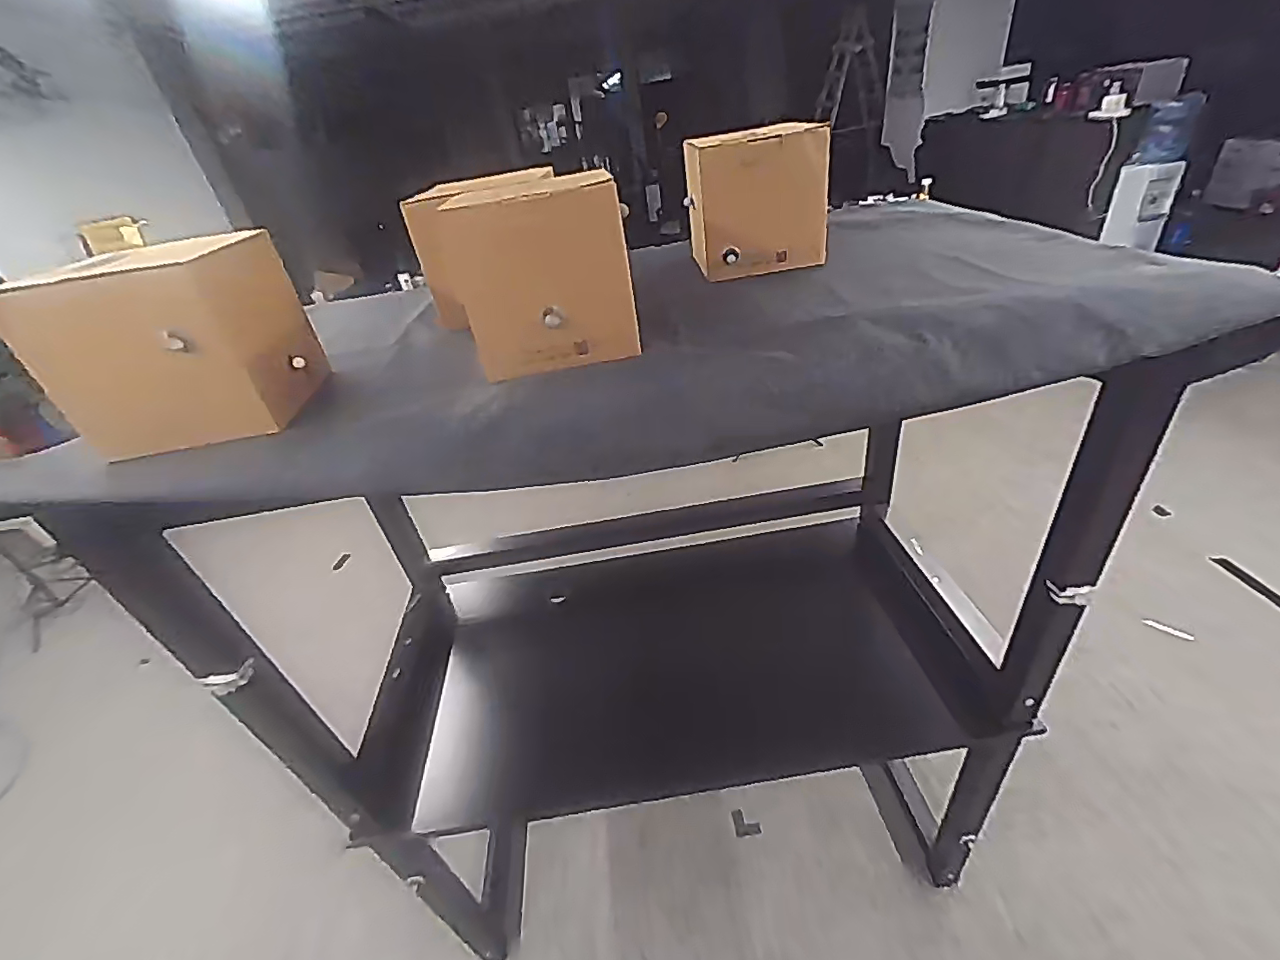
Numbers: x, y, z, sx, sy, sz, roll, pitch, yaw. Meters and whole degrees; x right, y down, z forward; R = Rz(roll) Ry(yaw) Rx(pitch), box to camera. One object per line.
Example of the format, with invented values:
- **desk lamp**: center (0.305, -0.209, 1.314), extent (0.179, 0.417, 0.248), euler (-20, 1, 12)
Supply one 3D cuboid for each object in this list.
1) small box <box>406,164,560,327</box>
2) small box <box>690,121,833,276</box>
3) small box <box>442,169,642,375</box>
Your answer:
- **small box**: center (-0.192, -0.332, 0.769), extent (0.179, 0.176, 0.168), euler (-7, 35, 5)
- **small box**: center (0.168, -0.402, 0.780), extent (0.168, 0.176, 0.179), euler (-8, 34, 3)
- **small box**: center (-0.095, -0.231, 0.596), extent (0.168, 0.176, 0.179), euler (-10, 34, -1)
